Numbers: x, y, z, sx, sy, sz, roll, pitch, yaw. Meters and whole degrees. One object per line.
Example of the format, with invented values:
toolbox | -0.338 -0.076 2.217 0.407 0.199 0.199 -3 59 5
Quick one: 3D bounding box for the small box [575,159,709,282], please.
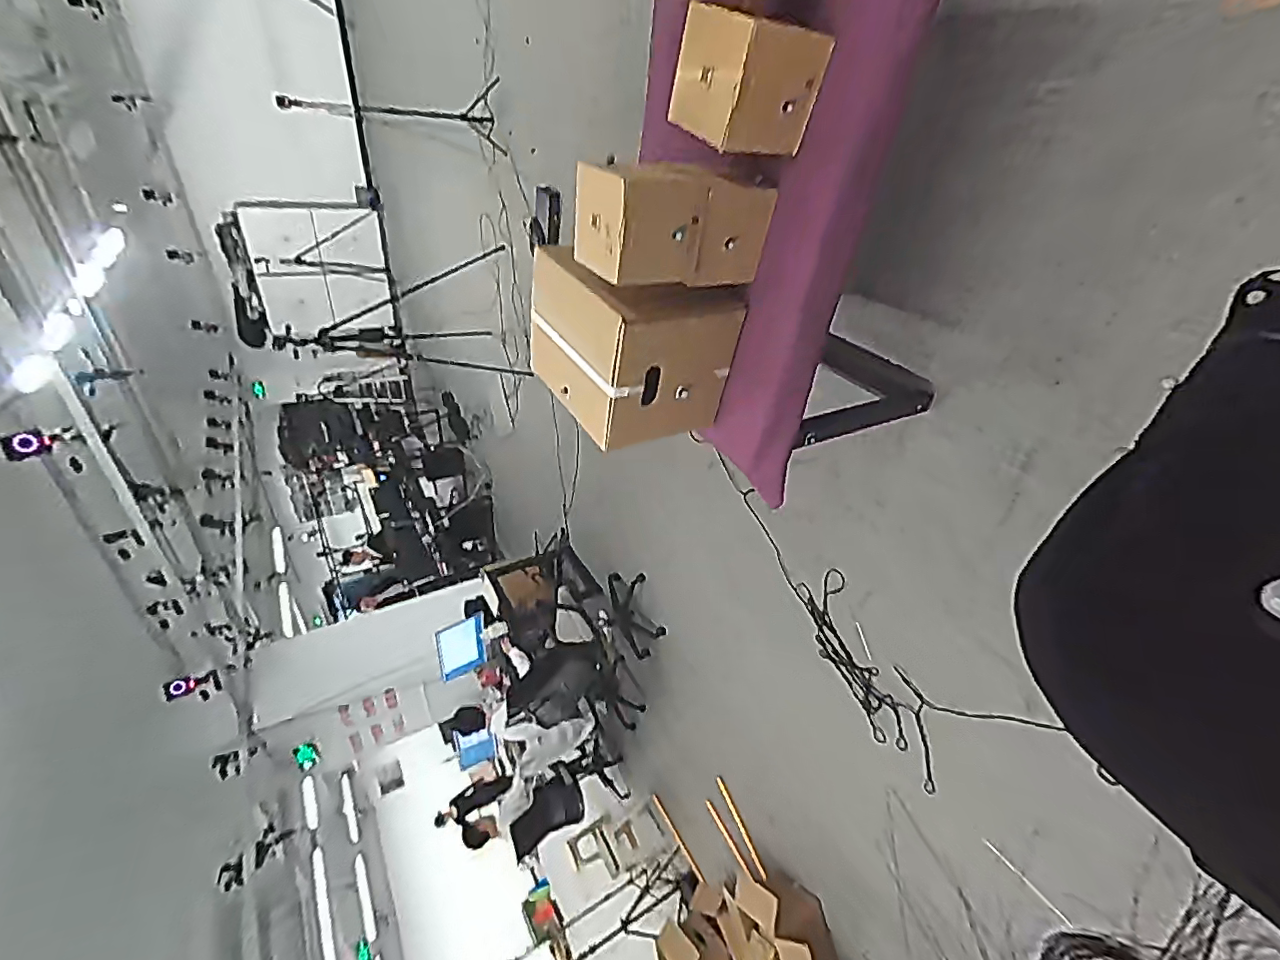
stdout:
small box | -0.002 -0.470 0.978 0.179 0.176 0.168 47 141 41
